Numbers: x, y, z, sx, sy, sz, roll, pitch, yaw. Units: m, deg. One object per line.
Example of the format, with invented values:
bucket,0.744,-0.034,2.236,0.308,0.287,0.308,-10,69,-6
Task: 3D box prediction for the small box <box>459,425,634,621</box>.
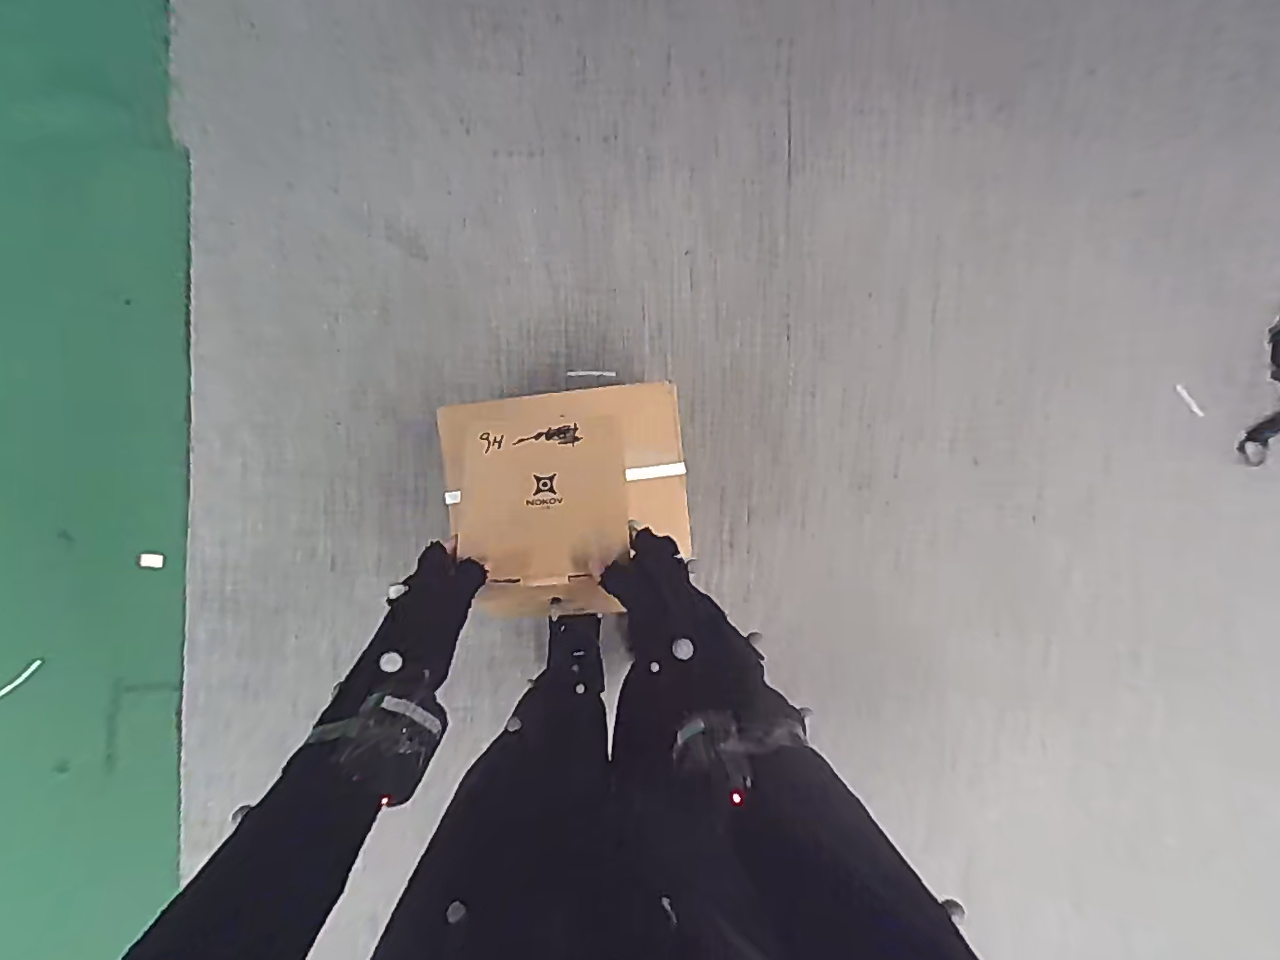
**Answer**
small box,-0.094,0.059,0.616,0.168,0.176,0.179,-4,63,-2
